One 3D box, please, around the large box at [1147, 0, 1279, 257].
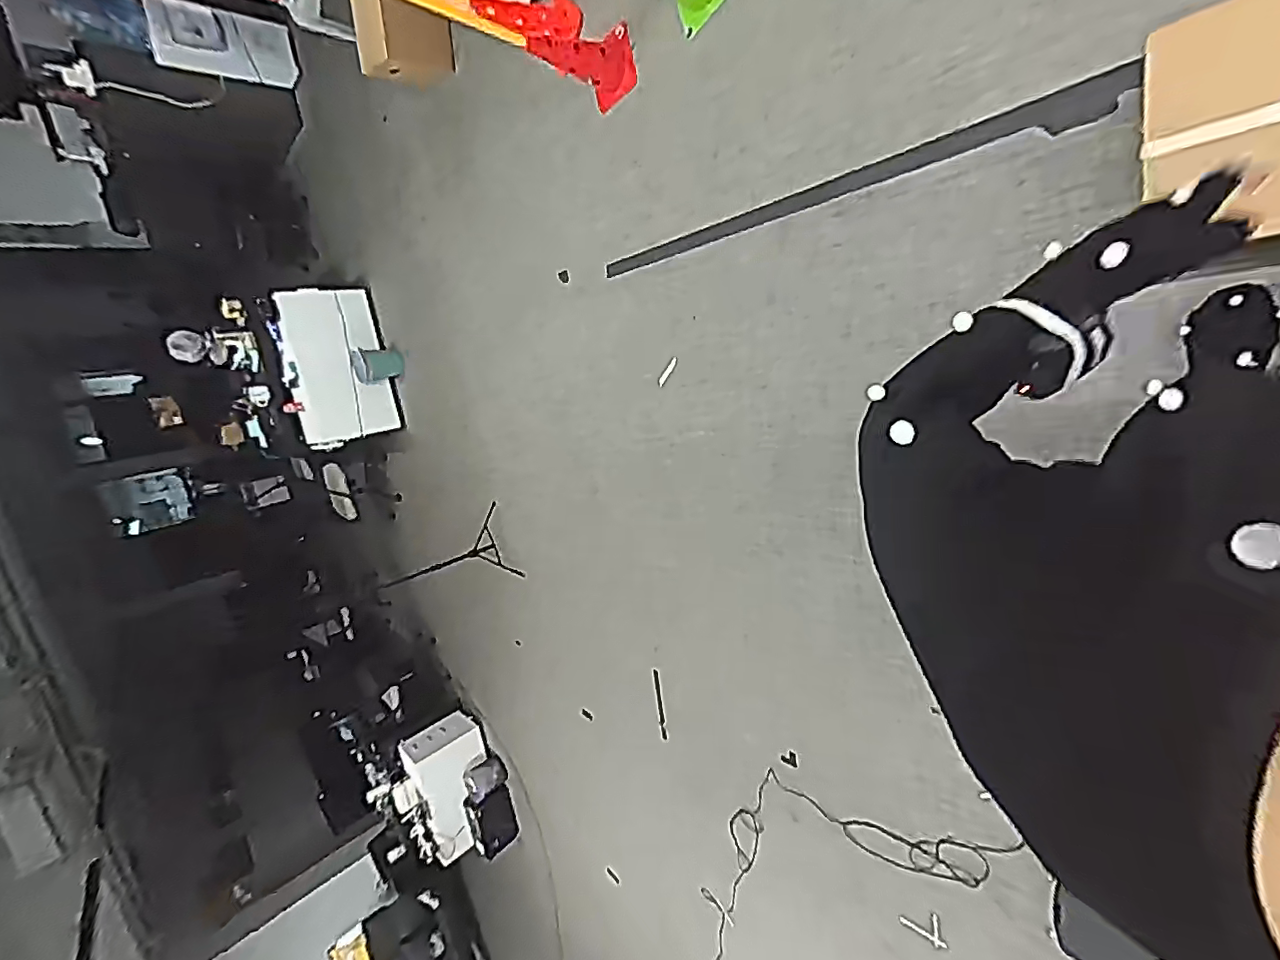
[{"bbox_3d":[1.000,-0.529,0.764,0.408,0.320,0.320,2,108,46],"label":"large box"}]
